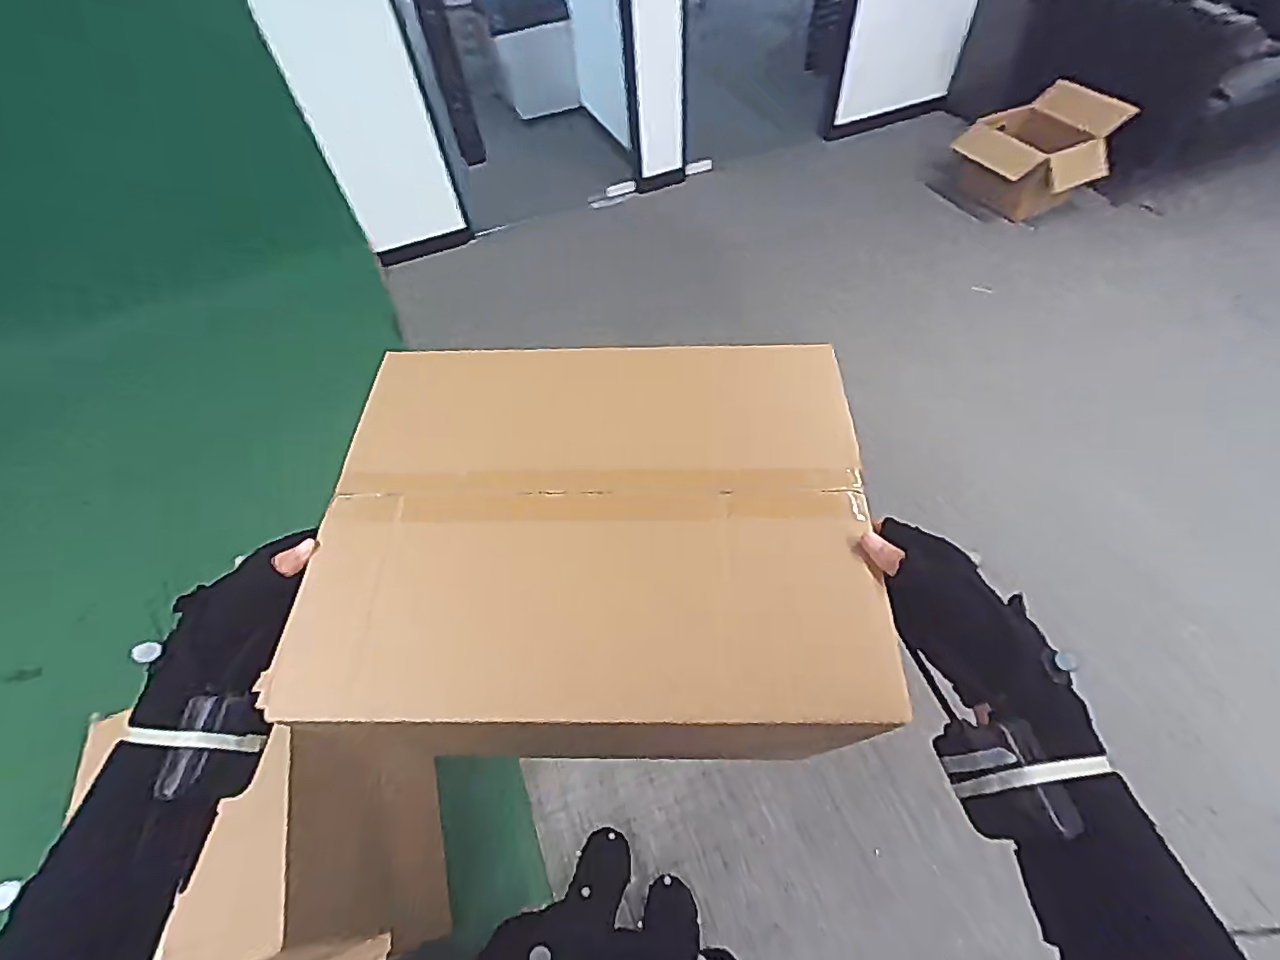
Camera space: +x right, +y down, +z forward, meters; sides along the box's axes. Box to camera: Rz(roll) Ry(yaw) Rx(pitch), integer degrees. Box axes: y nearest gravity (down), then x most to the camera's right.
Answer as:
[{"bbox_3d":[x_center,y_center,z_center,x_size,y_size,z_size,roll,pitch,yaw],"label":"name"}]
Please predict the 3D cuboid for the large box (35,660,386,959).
[{"bbox_3d":[-0.642,0.580,0.877,0.320,0.320,0.408,-18,52,-10],"label":"large box"}]
